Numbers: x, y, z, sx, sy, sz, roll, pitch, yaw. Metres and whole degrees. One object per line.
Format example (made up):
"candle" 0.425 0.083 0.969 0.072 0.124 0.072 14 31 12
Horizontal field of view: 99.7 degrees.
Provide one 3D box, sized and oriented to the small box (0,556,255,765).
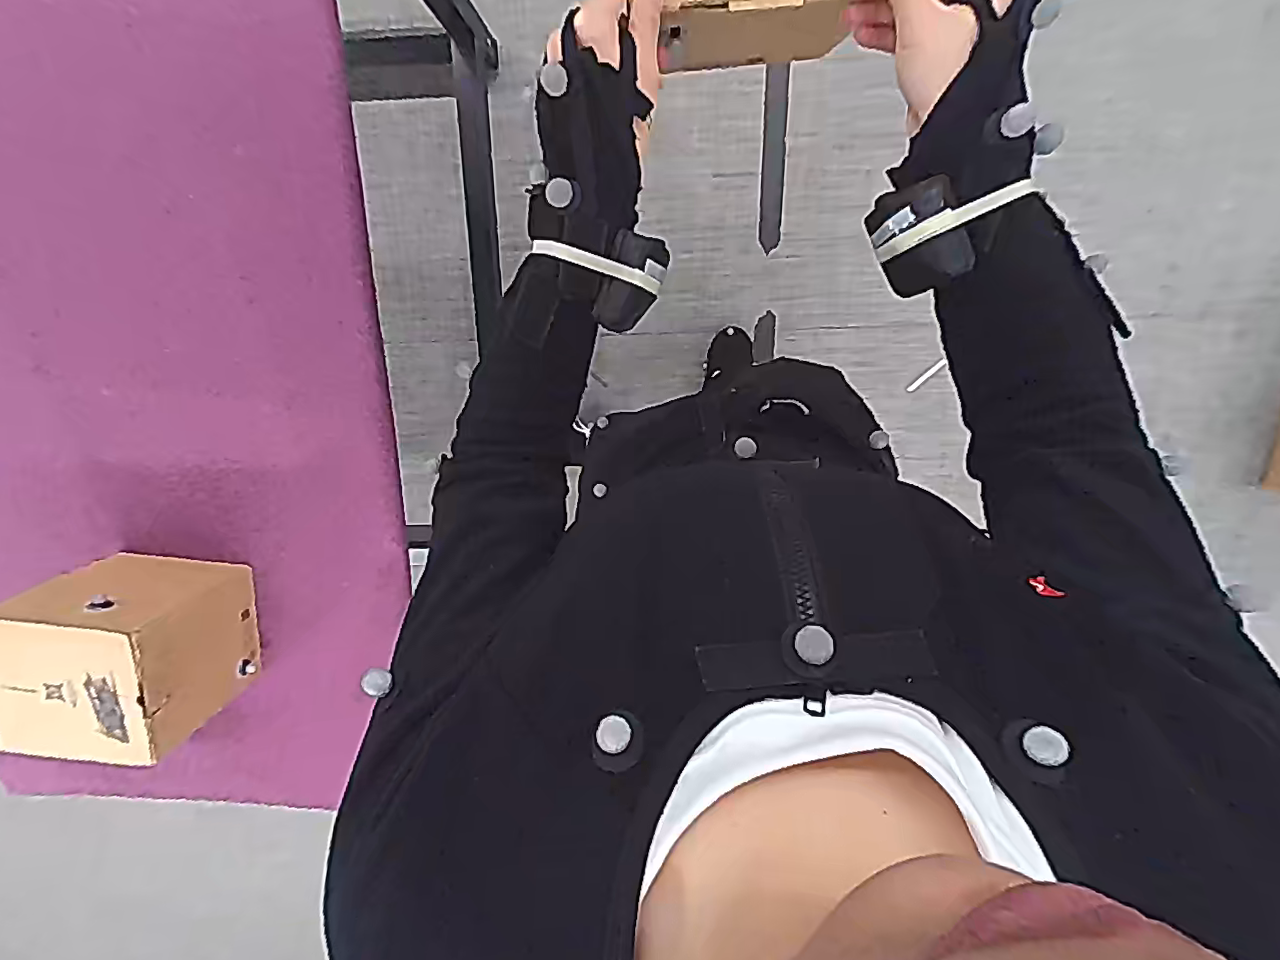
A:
"small box" -0.595 0.201 0.643 0.179 0.176 0.168 6 105 2
